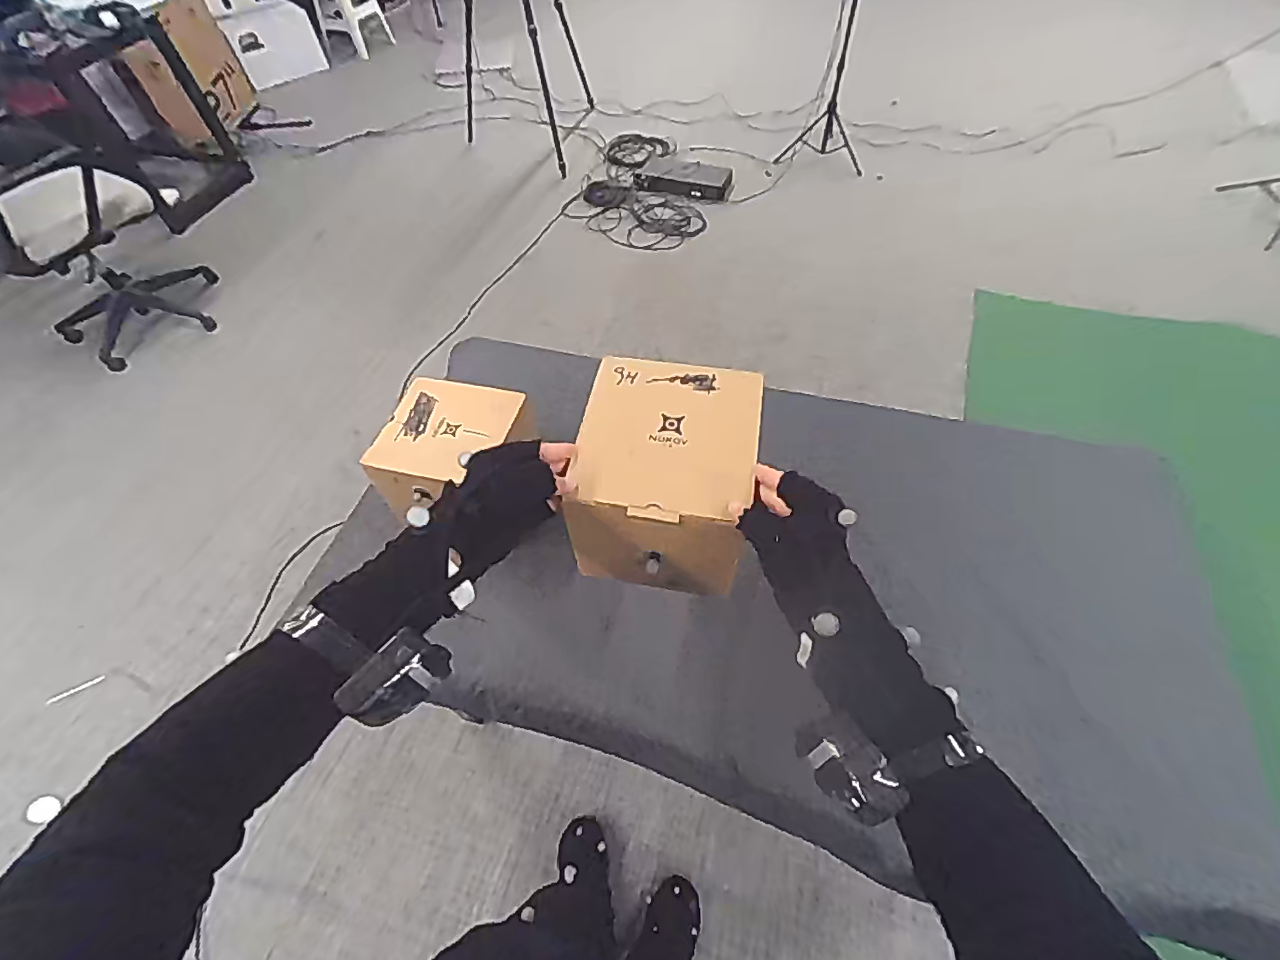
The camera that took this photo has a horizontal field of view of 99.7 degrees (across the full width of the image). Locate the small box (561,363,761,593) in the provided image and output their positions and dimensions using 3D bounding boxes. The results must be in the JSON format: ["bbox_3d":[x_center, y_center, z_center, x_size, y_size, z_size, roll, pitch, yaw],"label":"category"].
[{"bbox_3d":[0.029,0.004,0.576,0.168,0.176,0.179,8,58,7],"label":"small box"}]

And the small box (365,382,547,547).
[{"bbox_3d":[-0.256,-0.018,0.800,0.179,0.176,0.168,10,56,9],"label":"small box"}]
